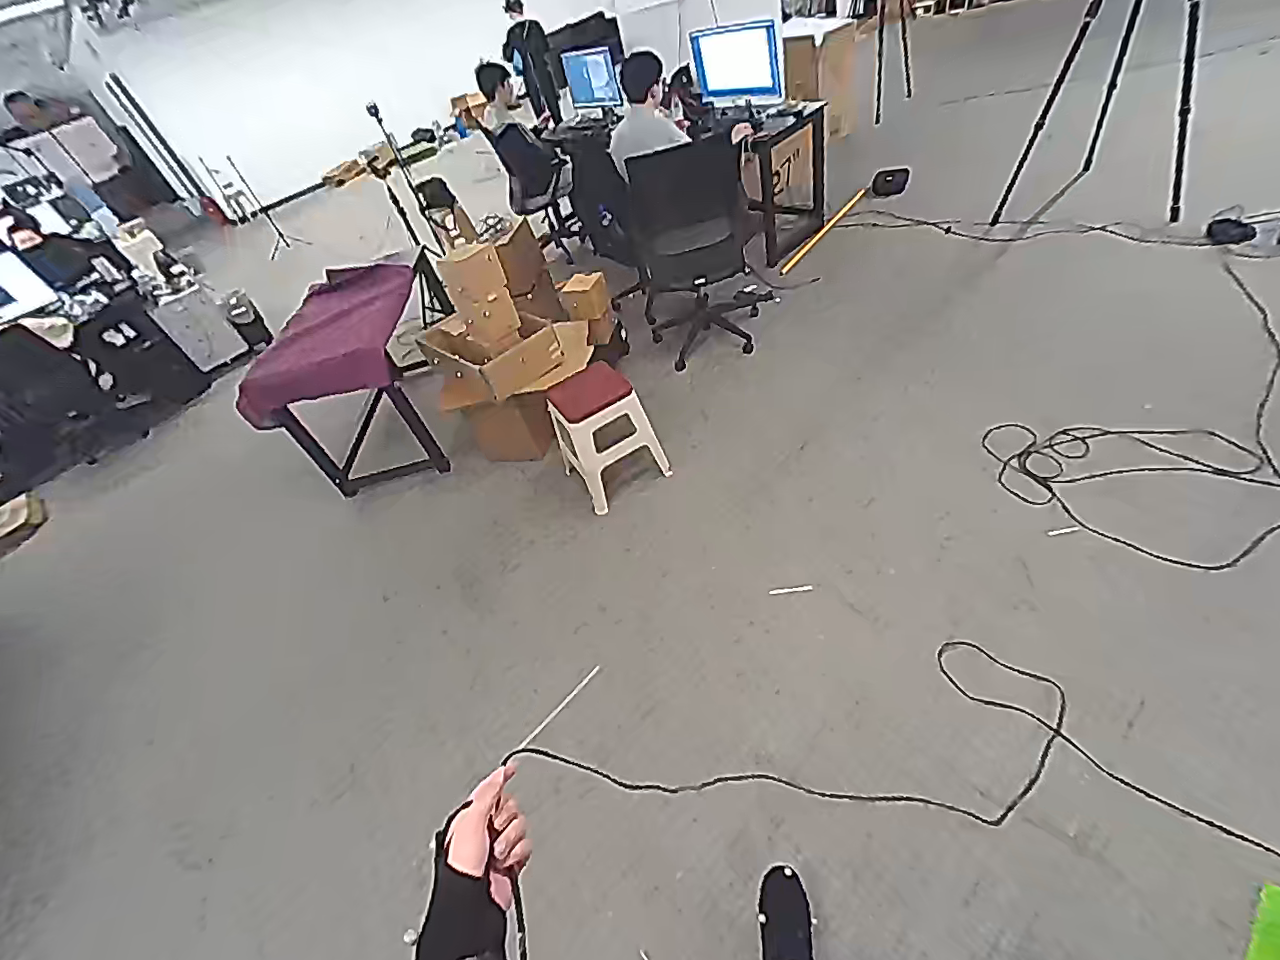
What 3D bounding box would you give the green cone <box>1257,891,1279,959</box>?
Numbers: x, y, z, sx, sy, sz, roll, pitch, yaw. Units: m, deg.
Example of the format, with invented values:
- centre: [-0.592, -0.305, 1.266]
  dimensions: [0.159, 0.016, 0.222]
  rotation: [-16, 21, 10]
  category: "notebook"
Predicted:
- centre: [1.237, 0.792, 0.871]
  dimensions: [0.200, 0.368, 0.202]
  rotation: [27, 58, 37]
  category: "green cone"
